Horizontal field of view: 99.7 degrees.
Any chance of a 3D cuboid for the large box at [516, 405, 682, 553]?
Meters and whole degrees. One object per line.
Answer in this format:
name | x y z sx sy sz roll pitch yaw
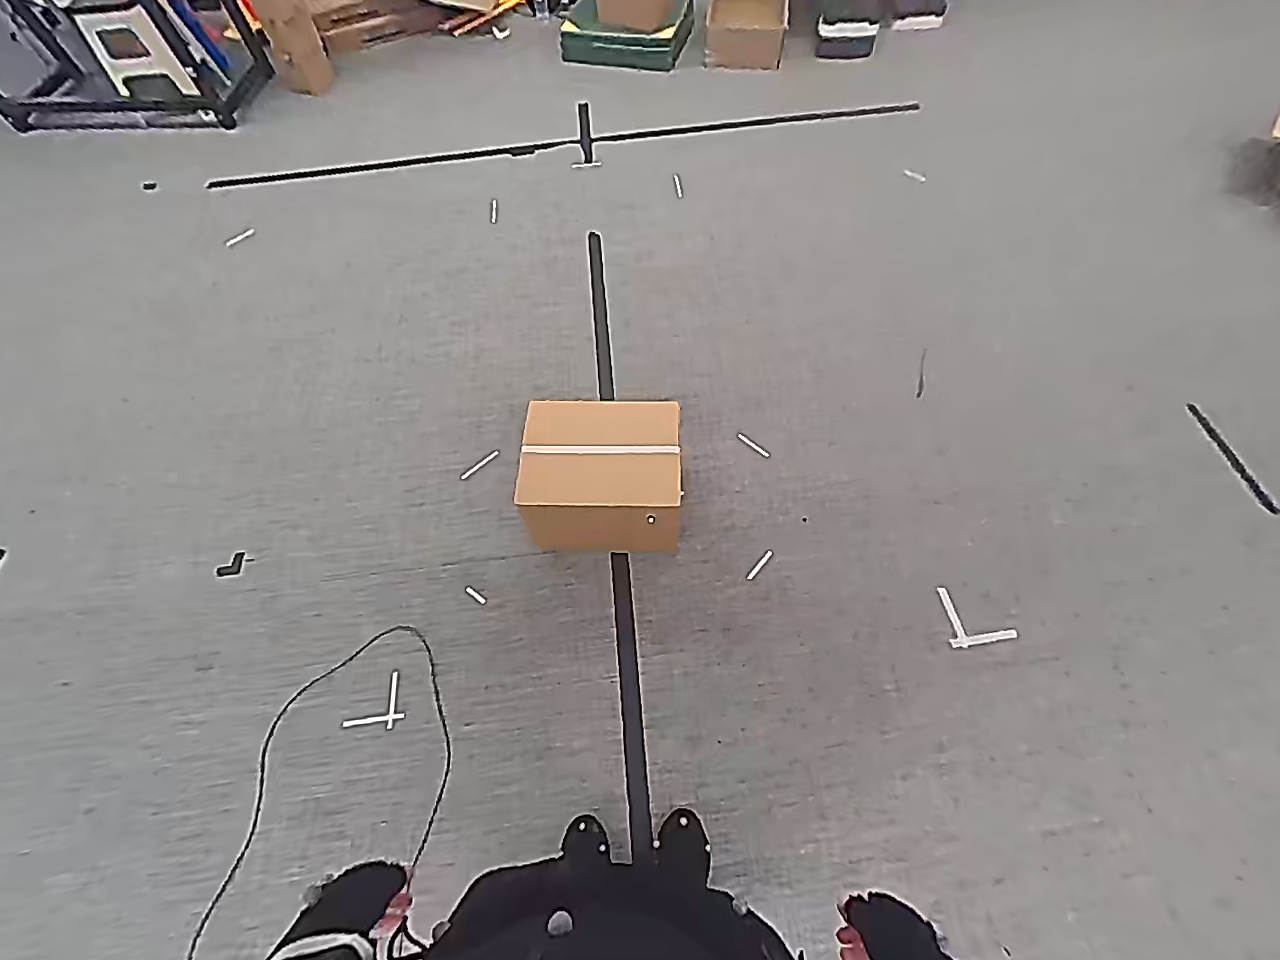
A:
large box | -0.093 0.006 1.491 0.408 0.320 0.320 1 61 2
